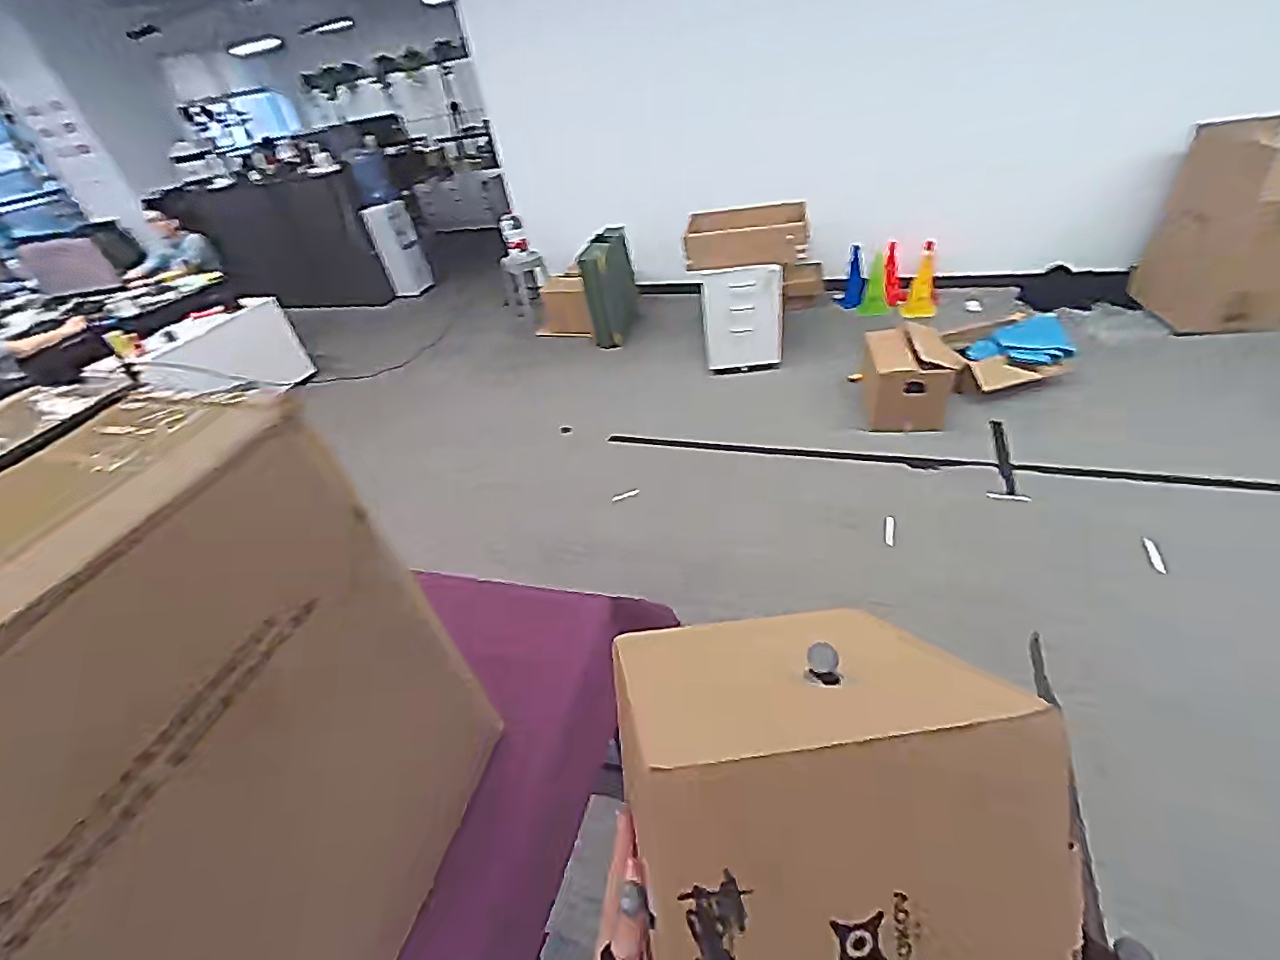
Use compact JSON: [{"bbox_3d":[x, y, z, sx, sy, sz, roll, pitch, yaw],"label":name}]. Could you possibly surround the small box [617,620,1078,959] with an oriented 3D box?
[{"bbox_3d":[0.086,0.183,0.294,0.179,0.168,0.176,-5,0,-7],"label":"small box"}]
